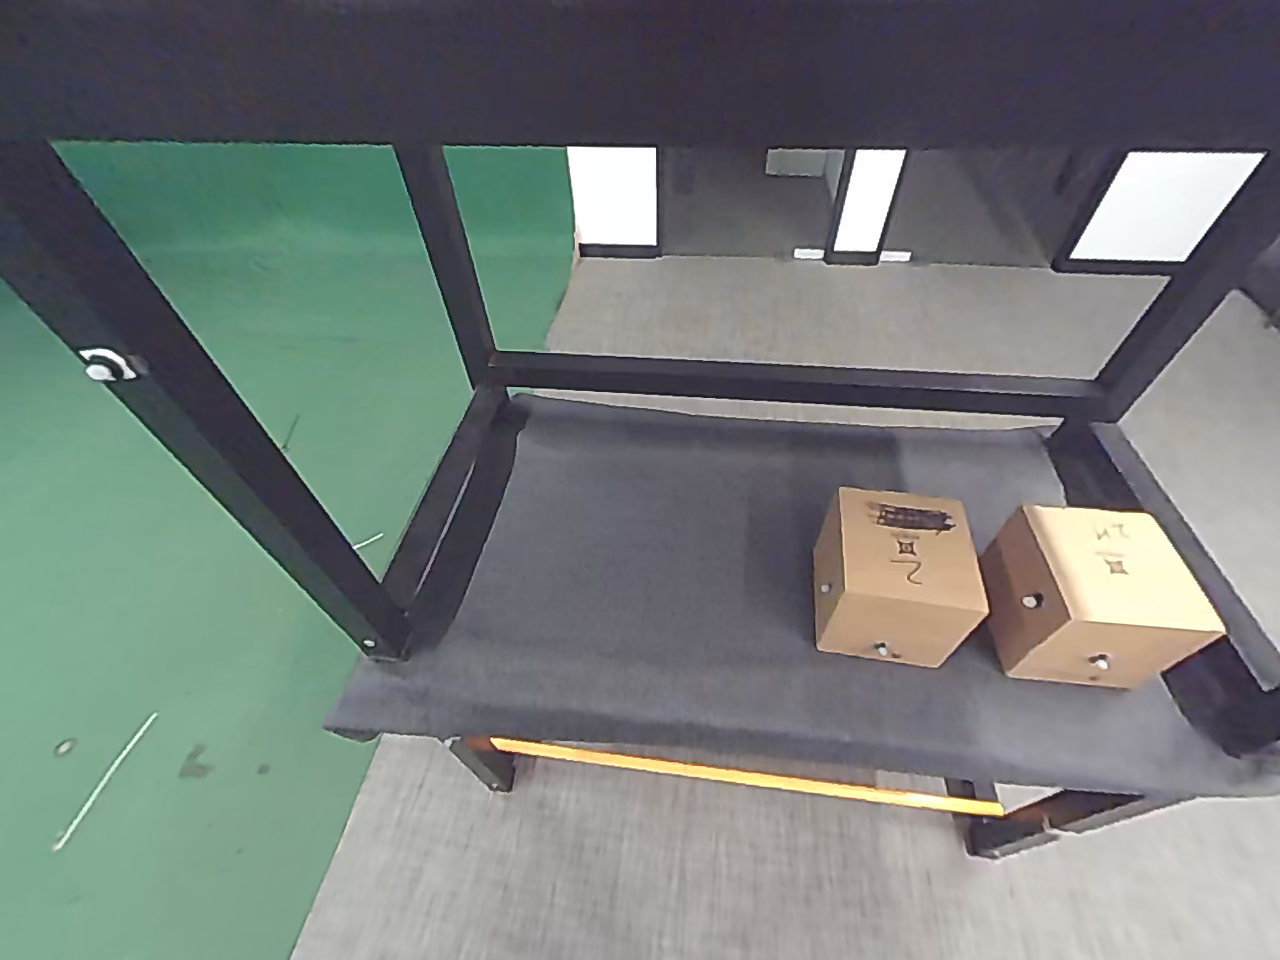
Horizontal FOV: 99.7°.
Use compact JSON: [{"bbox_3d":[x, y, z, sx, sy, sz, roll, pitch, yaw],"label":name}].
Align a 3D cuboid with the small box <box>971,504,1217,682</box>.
[{"bbox_3d":[0.589,0.156,0.736,0.168,0.176,0.179,4,48,6],"label":"small box"}]
